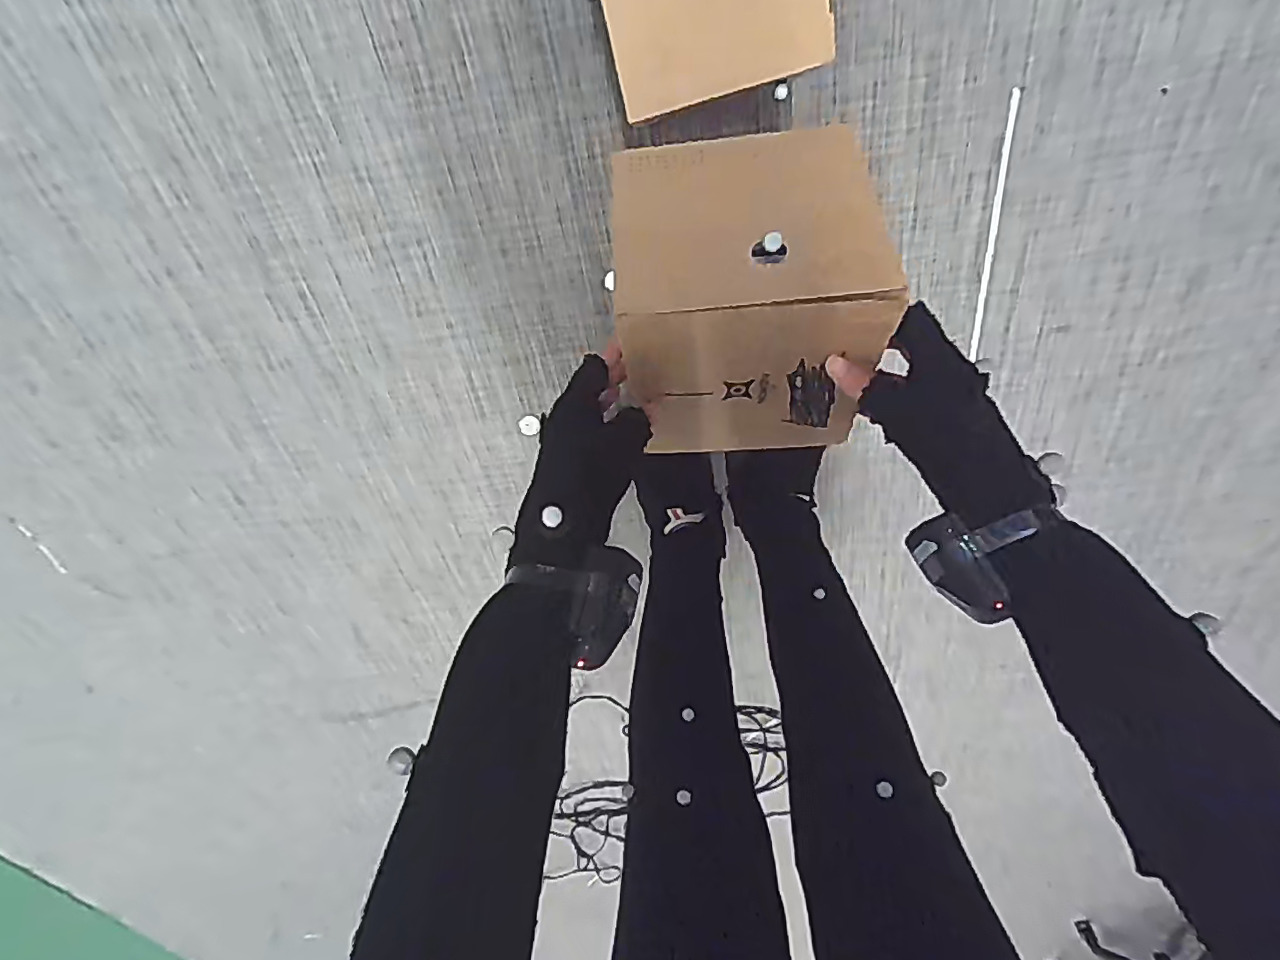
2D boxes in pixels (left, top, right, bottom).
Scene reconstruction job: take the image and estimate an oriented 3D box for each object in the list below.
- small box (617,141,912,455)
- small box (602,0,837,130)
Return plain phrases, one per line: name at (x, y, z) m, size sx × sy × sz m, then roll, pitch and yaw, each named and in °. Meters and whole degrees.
small box at (0.078, -0.137, 0.428) m, size 0.179 × 0.176 × 0.168 m, roll -4°, pitch 152°, yaw 4°
small box at (0.058, -0.426, 0.476) m, size 0.179 × 0.176 × 0.168 m, roll -12°, pitch 121°, yaw 8°
